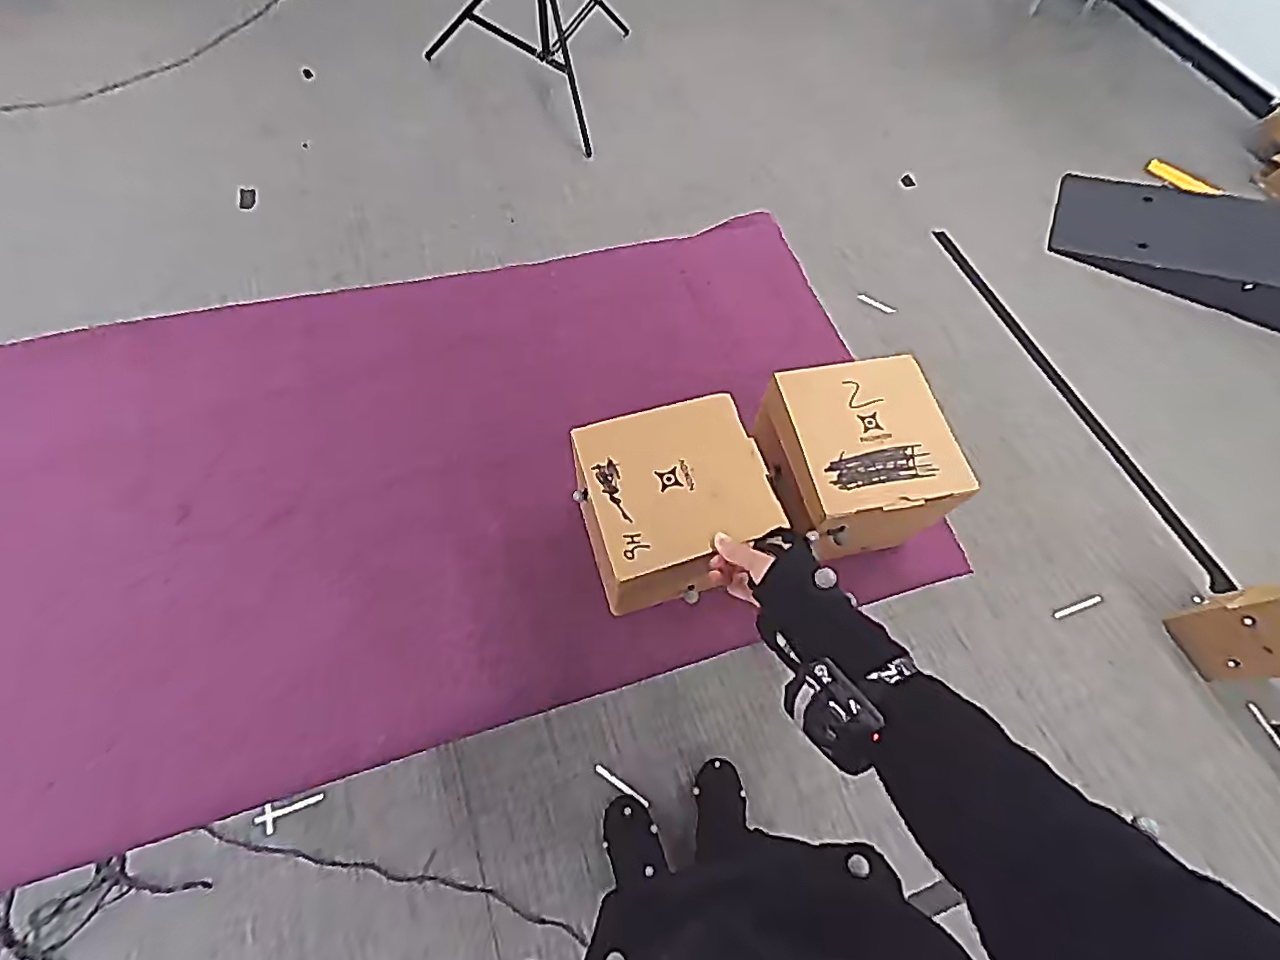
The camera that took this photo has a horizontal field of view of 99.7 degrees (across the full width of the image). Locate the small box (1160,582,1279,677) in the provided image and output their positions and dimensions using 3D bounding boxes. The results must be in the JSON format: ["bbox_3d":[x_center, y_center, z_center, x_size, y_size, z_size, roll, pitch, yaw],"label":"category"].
[{"bbox_3d":[1.483,0.378,1.344,0.168,0.176,0.179,-19,67,-13],"label":"small box"}]

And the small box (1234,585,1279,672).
[{"bbox_3d":[1.495,0.314,1.193,0.179,0.176,0.168,-16,67,-12],"label":"small box"}]

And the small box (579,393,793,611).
[{"bbox_3d":[0.035,0.031,0.598,0.179,0.176,0.168,-15,67,-11],"label":"small box"}]
